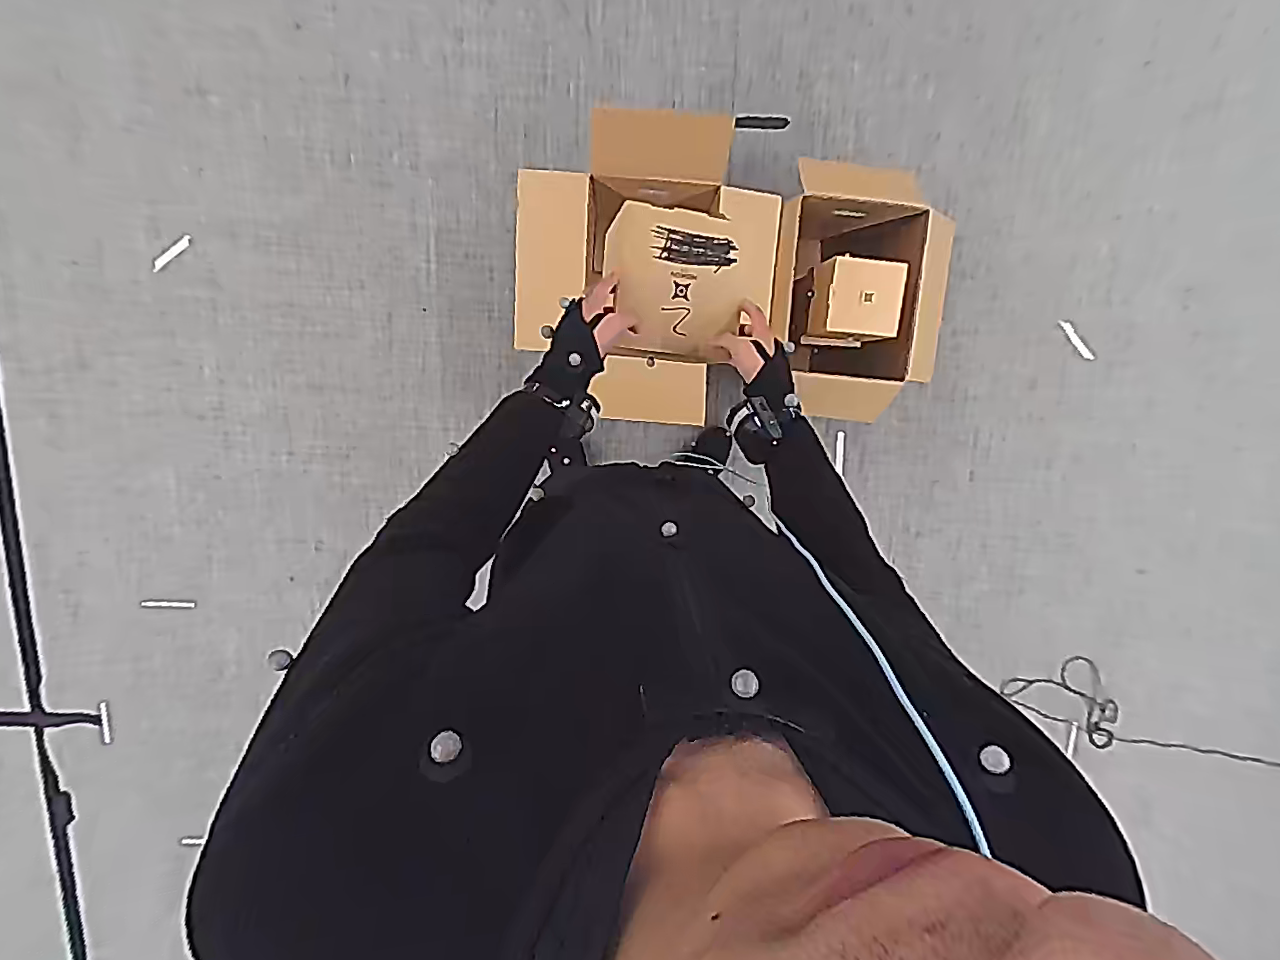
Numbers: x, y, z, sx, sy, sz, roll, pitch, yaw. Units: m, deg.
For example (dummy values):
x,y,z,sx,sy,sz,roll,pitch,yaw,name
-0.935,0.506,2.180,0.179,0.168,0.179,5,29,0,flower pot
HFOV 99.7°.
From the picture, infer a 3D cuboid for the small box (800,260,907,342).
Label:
x,y,z,sx,sy,sz,roll,pitch,yaw,name
0.514,-0.430,1.322,0.179,0.176,0.168,4,101,-4,small box
